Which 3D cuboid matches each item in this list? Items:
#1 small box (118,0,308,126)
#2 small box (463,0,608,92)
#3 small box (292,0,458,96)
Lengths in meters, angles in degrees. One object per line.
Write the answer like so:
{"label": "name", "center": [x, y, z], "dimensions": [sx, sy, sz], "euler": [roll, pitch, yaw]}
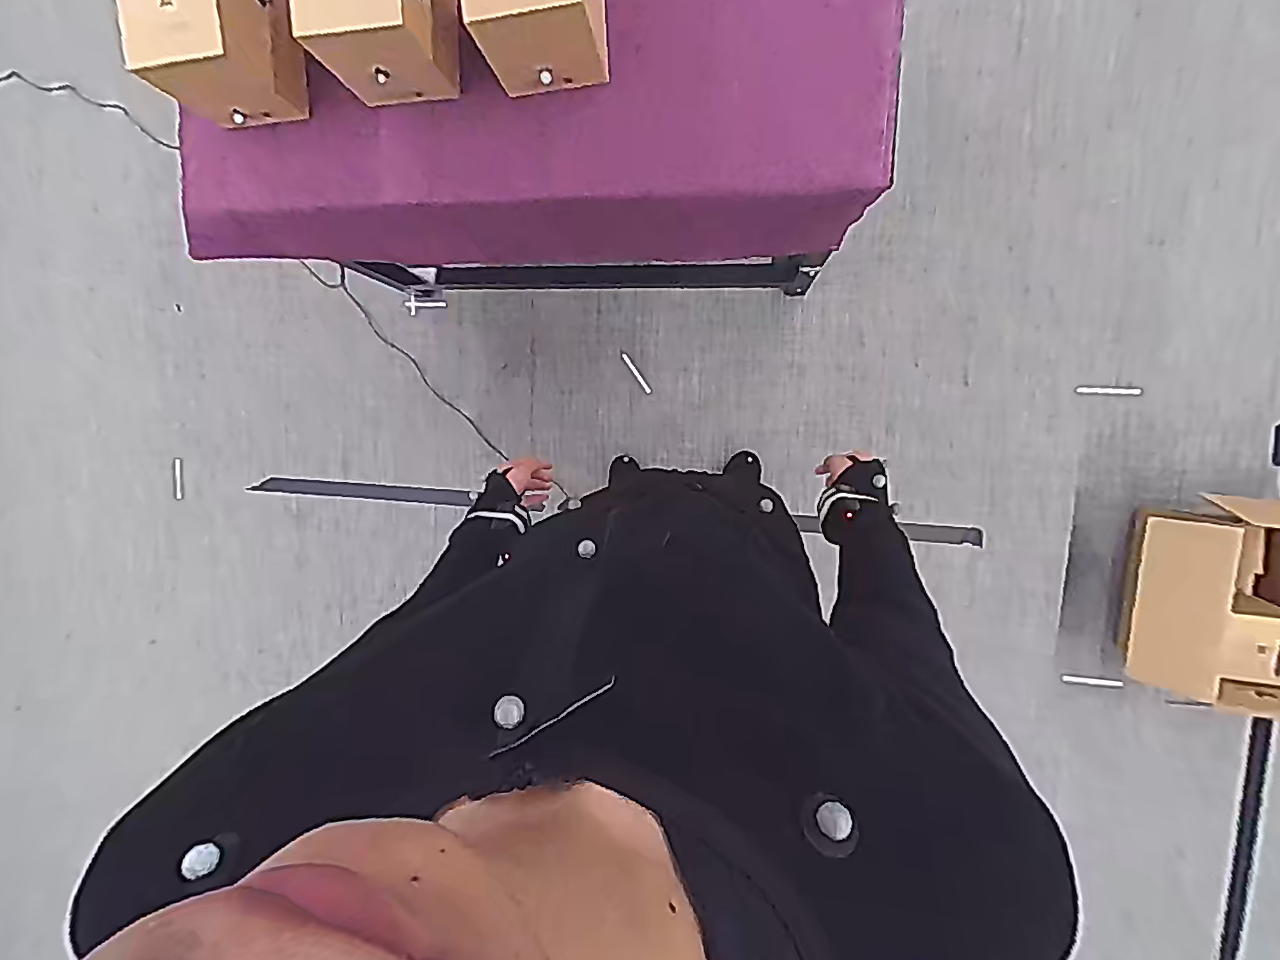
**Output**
{"label": "small box", "center": [-0.656, -0.696, 0.844], "dimensions": [0.168, 0.176, 0.179], "euler": [-1, 95, 8]}
{"label": "small box", "center": [-0.144, -0.703, 0.772], "dimensions": [0.168, 0.176, 0.179], "euler": [-3, 96, 8]}
{"label": "small box", "center": [-0.384, -0.706, 0.804], "dimensions": [0.168, 0.176, 0.179], "euler": [1, 95, 8]}
